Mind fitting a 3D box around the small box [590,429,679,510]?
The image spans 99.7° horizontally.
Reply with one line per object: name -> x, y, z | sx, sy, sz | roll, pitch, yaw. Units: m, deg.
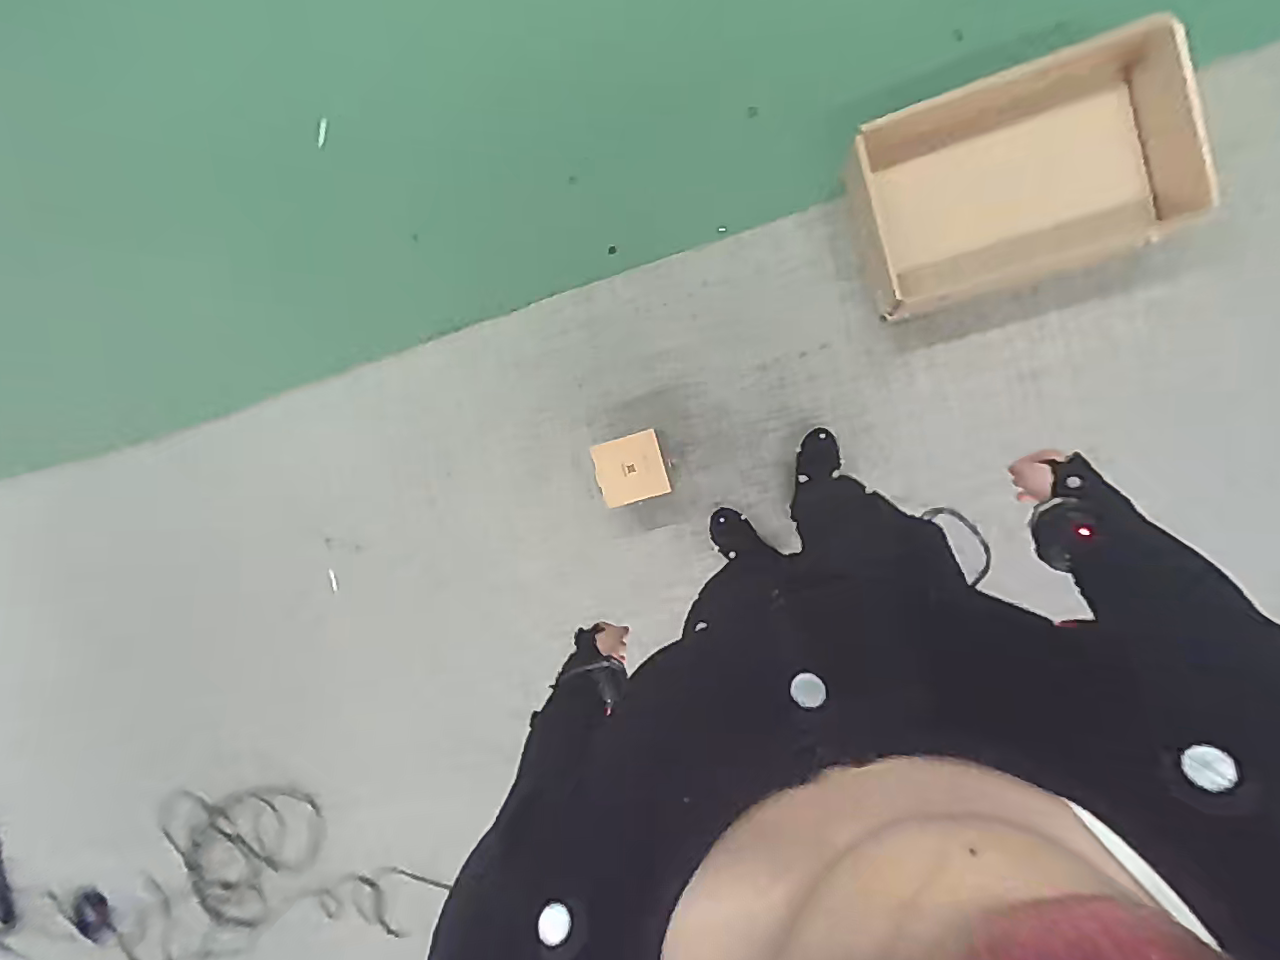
small box -> -0.008, -0.029, 1.415 | 0.179, 0.176, 0.168 | -17, 92, 10
